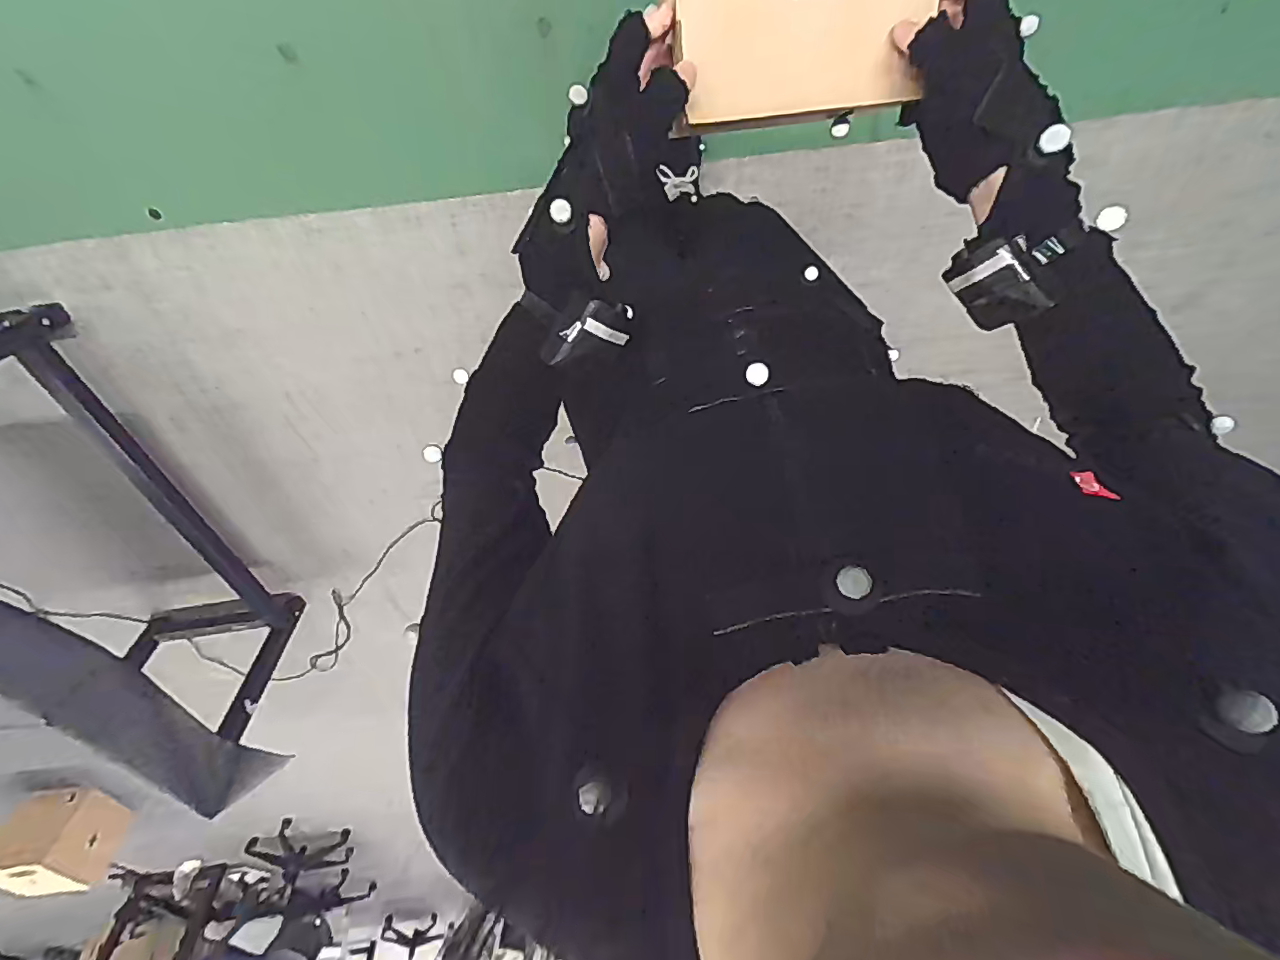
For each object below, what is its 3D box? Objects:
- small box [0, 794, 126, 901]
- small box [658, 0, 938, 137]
[{"bbox_3d":[-1.395,0.860,1.275,0.168,0.176,0.179,-5,129,-1],"label":"small box"},{"bbox_3d":[0.107,-0.372,0.418,0.179,0.176,0.168,-5,119,1],"label":"small box"}]
